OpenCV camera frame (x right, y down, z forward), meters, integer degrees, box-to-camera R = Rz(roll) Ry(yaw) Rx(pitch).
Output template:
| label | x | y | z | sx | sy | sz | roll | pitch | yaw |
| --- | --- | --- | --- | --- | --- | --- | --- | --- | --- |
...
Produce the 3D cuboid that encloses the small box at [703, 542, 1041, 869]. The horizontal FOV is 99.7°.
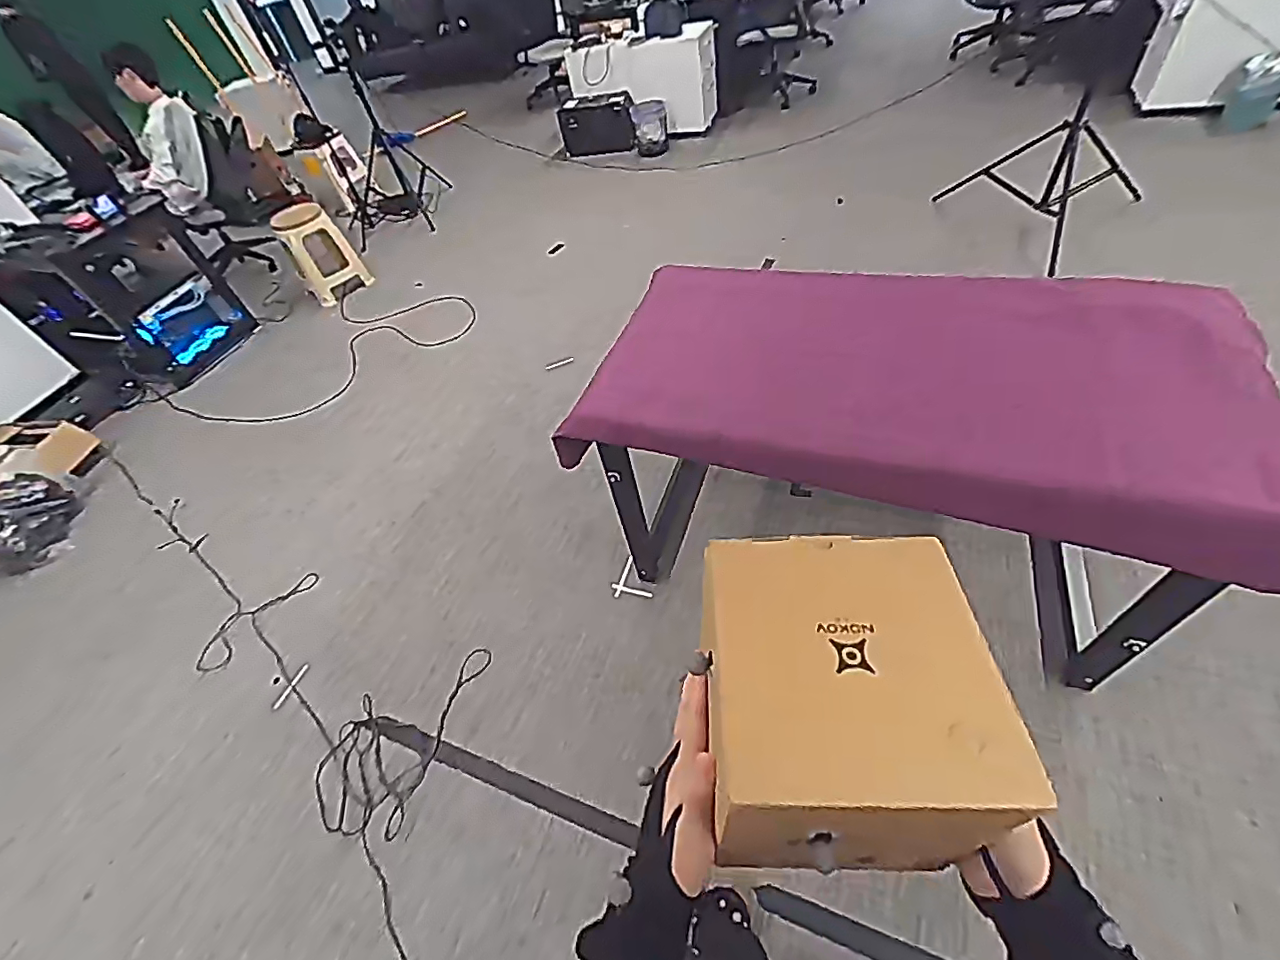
| label | x | y | z | sx | sy | sz | roll | pitch | yaw |
| --- | --- | --- | --- | --- | --- | --- | --- | --- | --- |
| small box | 0.133 | 0.165 | 0.395 | 0.168 | 0.176 | 0.179 | -1 | 44 | 3 |
